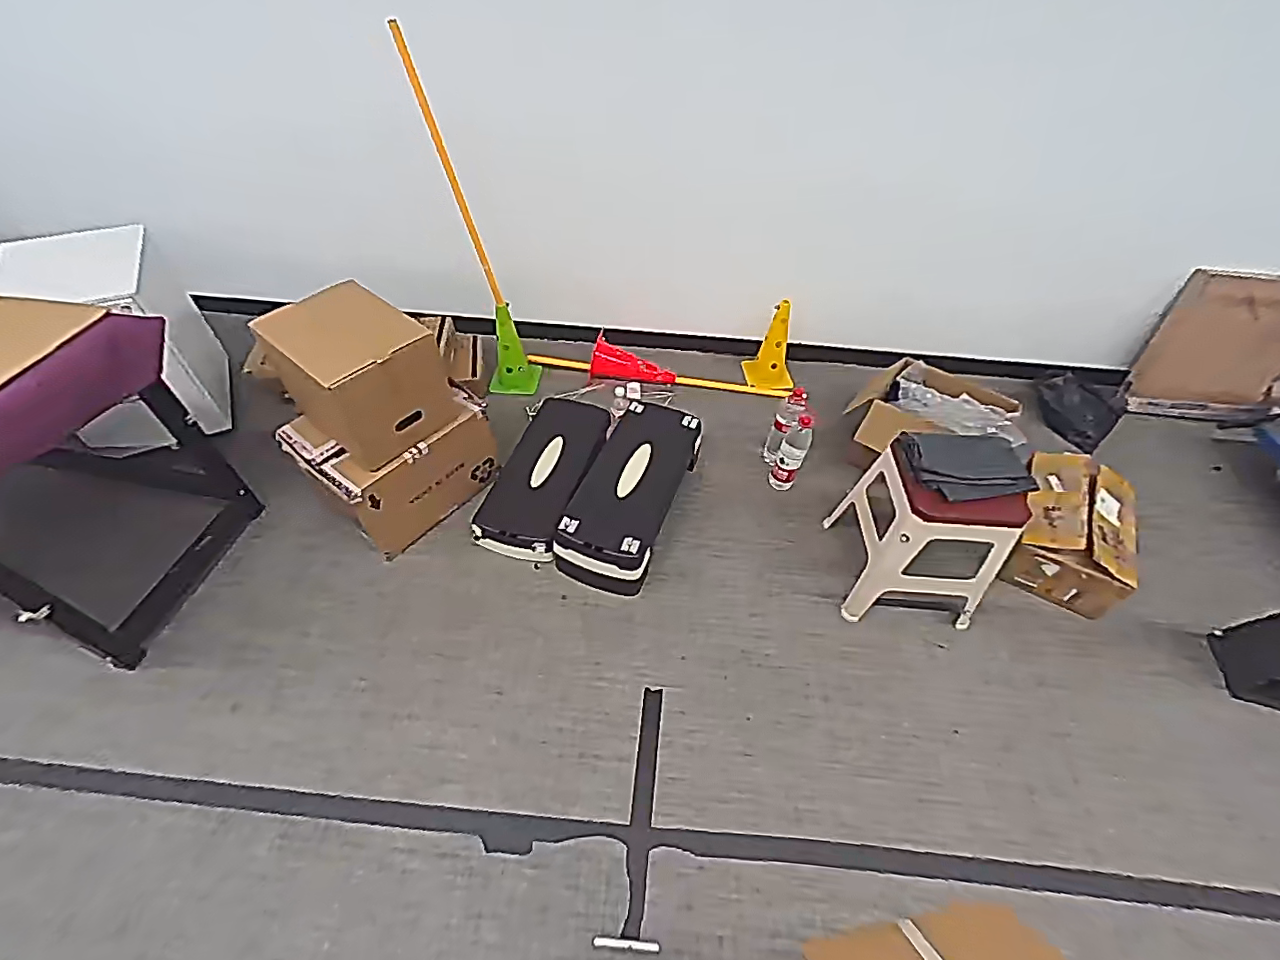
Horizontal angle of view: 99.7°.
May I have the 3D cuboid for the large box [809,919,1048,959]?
[{"bbox_3d":[0.424,0.791,0.582,0.320,0.408,0.320,-10,81,-3],"label":"large box"}]
